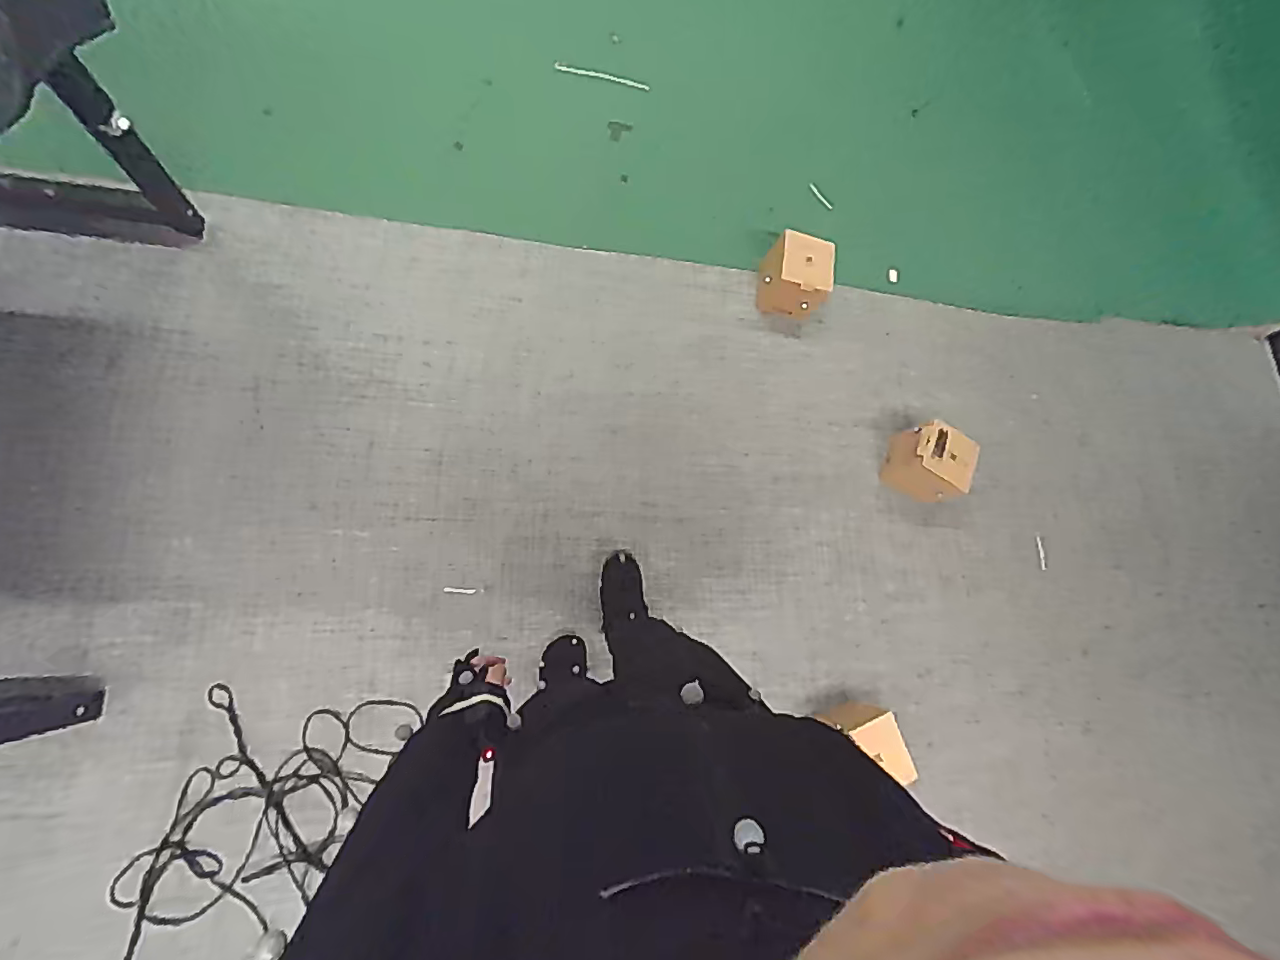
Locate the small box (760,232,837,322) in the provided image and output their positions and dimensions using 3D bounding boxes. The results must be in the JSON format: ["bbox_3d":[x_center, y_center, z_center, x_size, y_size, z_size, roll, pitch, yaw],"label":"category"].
[{"bbox_3d":[0.482,-0.614,1.658,0.168,0.176,0.179,11,73,-12],"label":"small box"}]

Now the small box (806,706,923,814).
[{"bbox_3d":[0.552,0.686,1.348,0.179,0.176,0.168,-18,81,-16],"label":"small box"}]
